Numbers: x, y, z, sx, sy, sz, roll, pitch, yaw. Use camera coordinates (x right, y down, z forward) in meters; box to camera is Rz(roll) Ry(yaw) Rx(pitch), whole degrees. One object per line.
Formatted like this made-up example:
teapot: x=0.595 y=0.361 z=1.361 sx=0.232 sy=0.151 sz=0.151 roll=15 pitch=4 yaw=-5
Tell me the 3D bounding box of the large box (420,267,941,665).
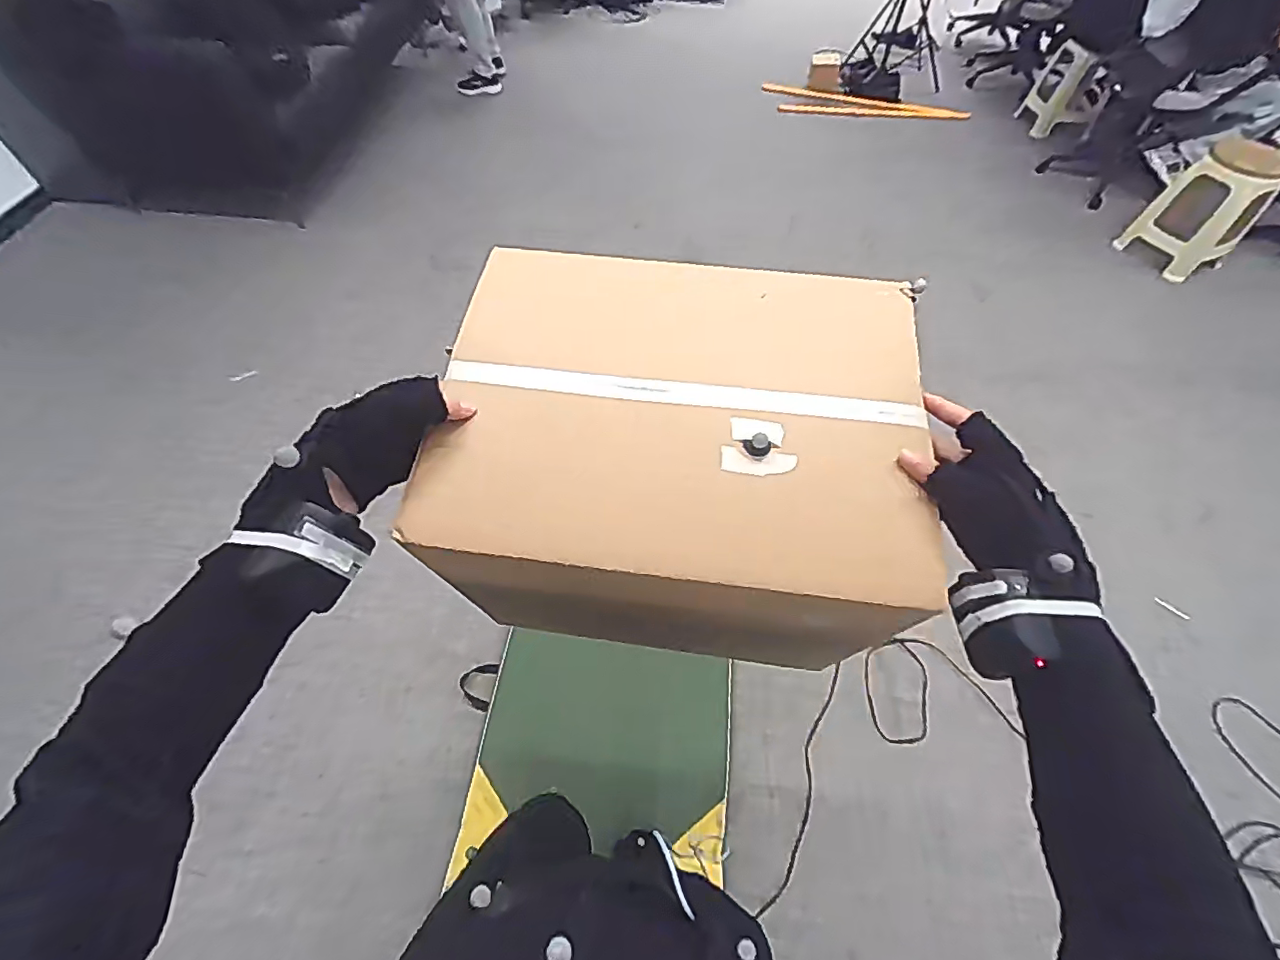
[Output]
large box: x=0.041 y=0.003 z=0.604 sx=0.408 sy=0.320 sz=0.320 roll=7 pitch=63 yaw=3
